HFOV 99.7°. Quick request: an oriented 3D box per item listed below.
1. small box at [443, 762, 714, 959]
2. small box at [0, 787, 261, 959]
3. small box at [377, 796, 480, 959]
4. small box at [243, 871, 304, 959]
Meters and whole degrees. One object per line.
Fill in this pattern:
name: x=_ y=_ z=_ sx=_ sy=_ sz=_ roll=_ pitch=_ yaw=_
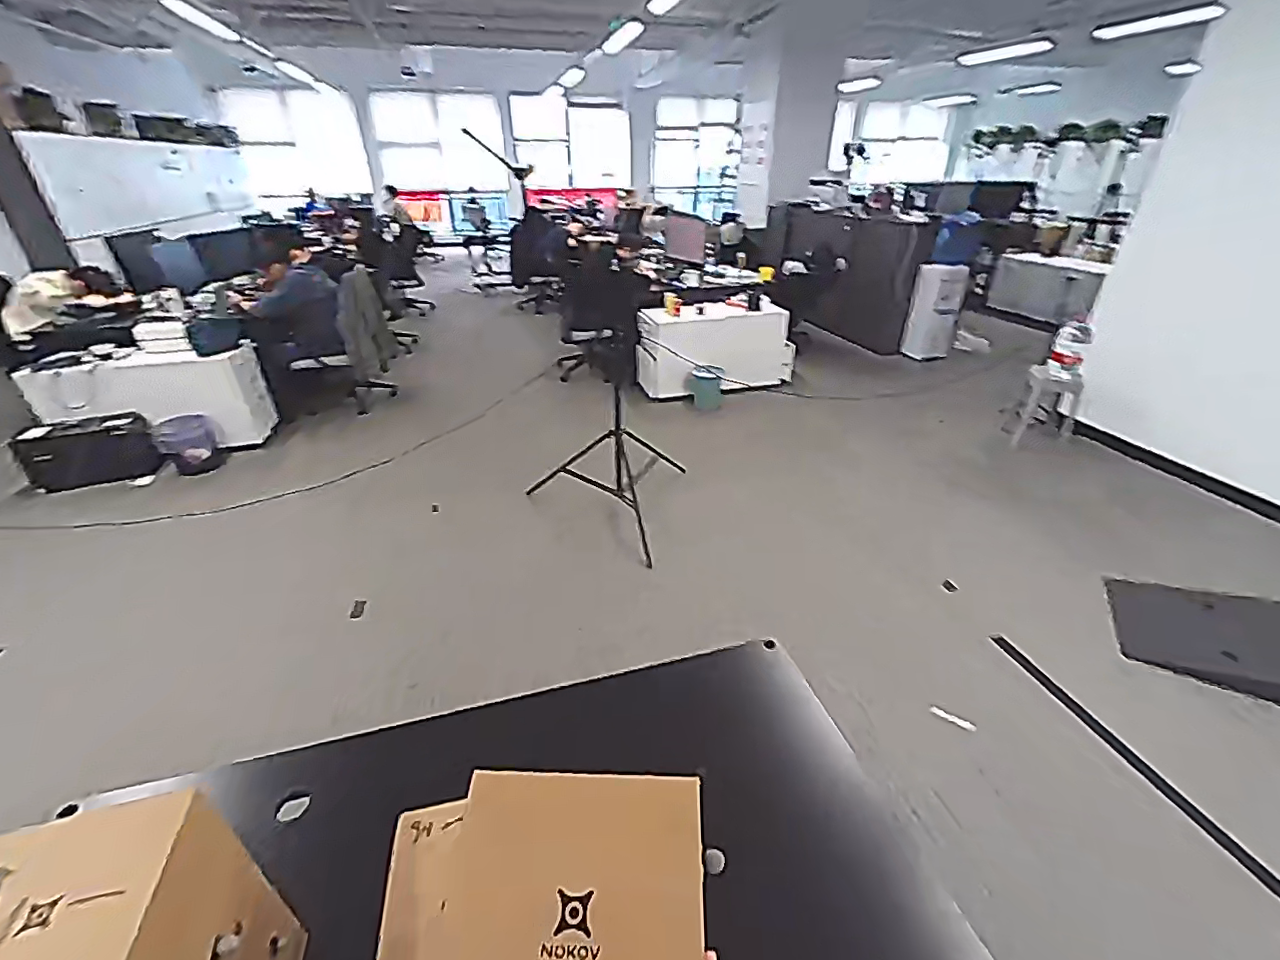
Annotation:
small box: x=-0.034 y=0.327 z=0.395 sx=0.168 sy=0.176 sz=0.179 roll=0 pitch=49 yaw=4
small box: x=-0.467 y=0.409 z=0.458 sx=0.179 sy=0.176 sz=0.168 roll=-10 pitch=31 yaw=-14
small box: x=-0.185 y=0.498 z=0.623 sx=0.168 sy=0.176 sz=0.179 roll=-7 pitch=31 yaw=-10
small box: x=-0.465 y=0.550 z=0.542 sx=0.168 sy=0.176 sz=0.179 roll=-10 pitch=32 yaw=-13
